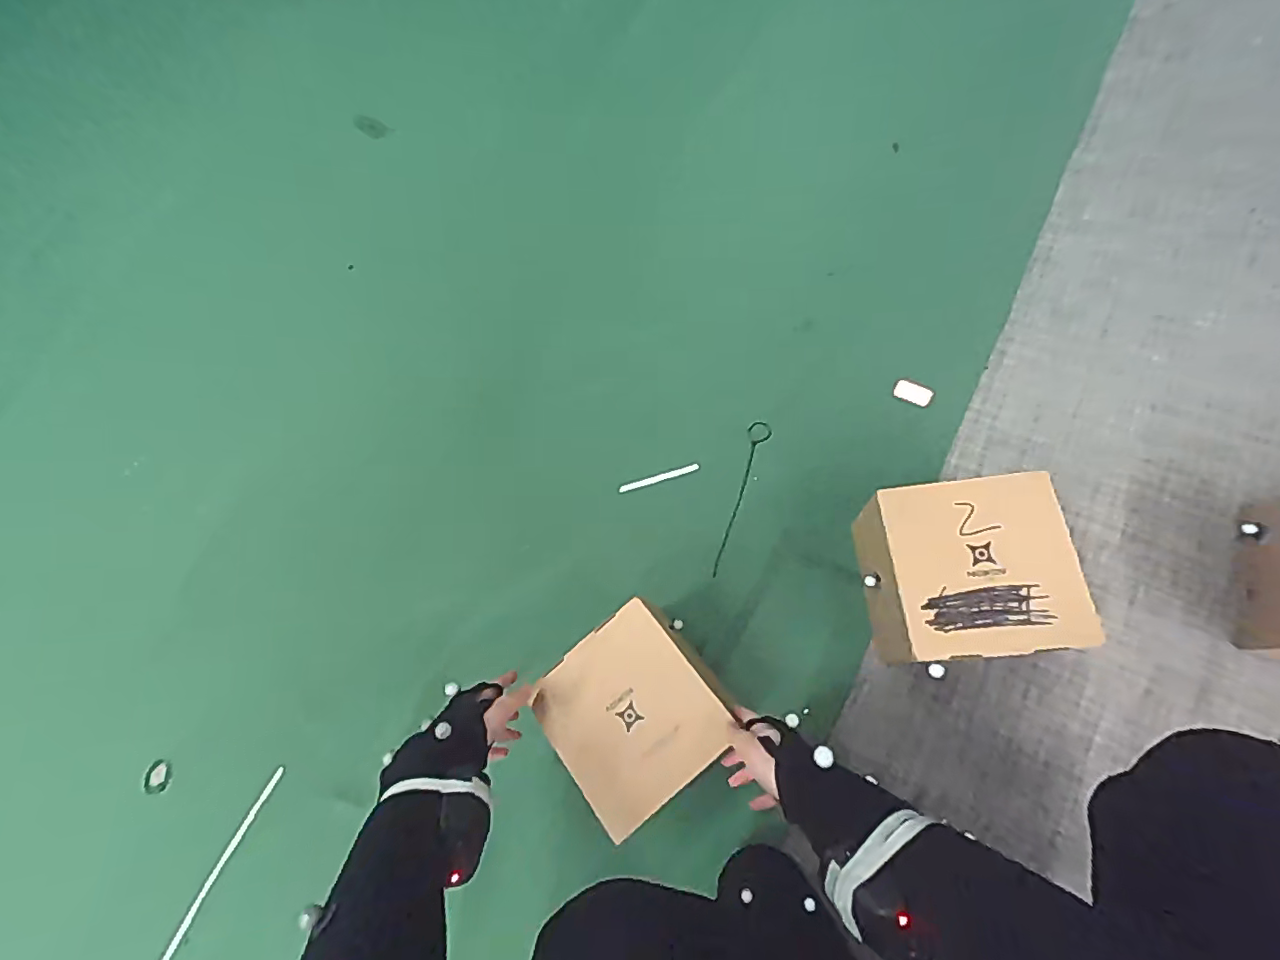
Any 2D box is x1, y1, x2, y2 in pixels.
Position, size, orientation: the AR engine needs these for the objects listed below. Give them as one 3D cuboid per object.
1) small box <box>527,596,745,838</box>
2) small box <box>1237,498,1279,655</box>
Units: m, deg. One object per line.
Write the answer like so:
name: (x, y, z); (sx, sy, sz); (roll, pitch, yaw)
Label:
small box: (0.004, 0.264, 0.632); (0.168, 0.176, 0.179); (-40, 68, -3)
small box: (0.746, 0.100, 0.524); (0.179, 0.176, 0.168); (11, 75, 15)
